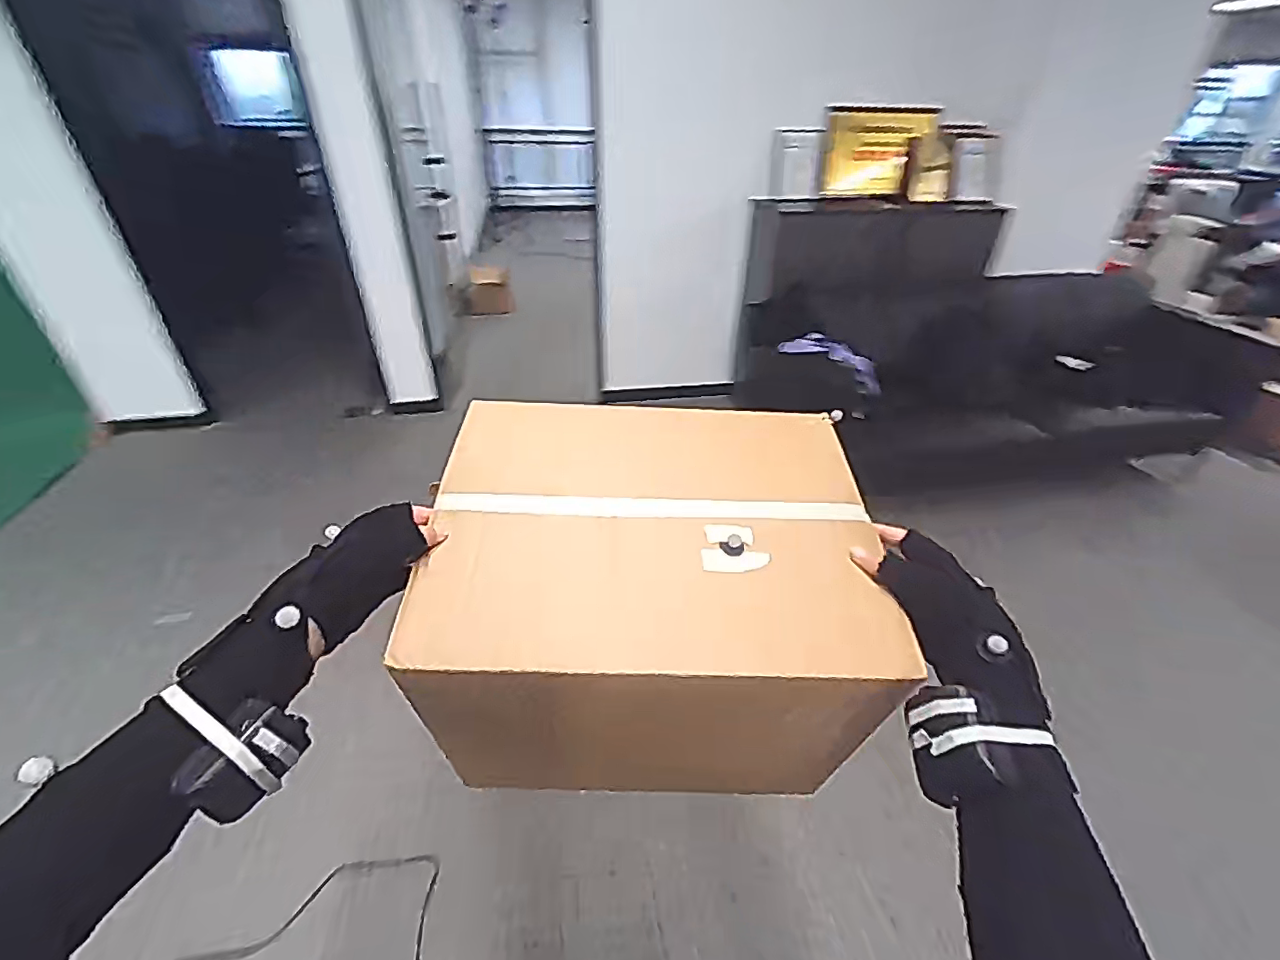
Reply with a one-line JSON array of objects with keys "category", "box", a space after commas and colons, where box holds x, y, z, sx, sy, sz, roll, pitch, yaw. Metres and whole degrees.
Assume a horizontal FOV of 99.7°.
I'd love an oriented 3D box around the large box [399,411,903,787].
[{"category": "large box", "box": [-0.001, 0.138, 0.626, 0.408, 0.320, 0.320, 2, 45, -3]}]
